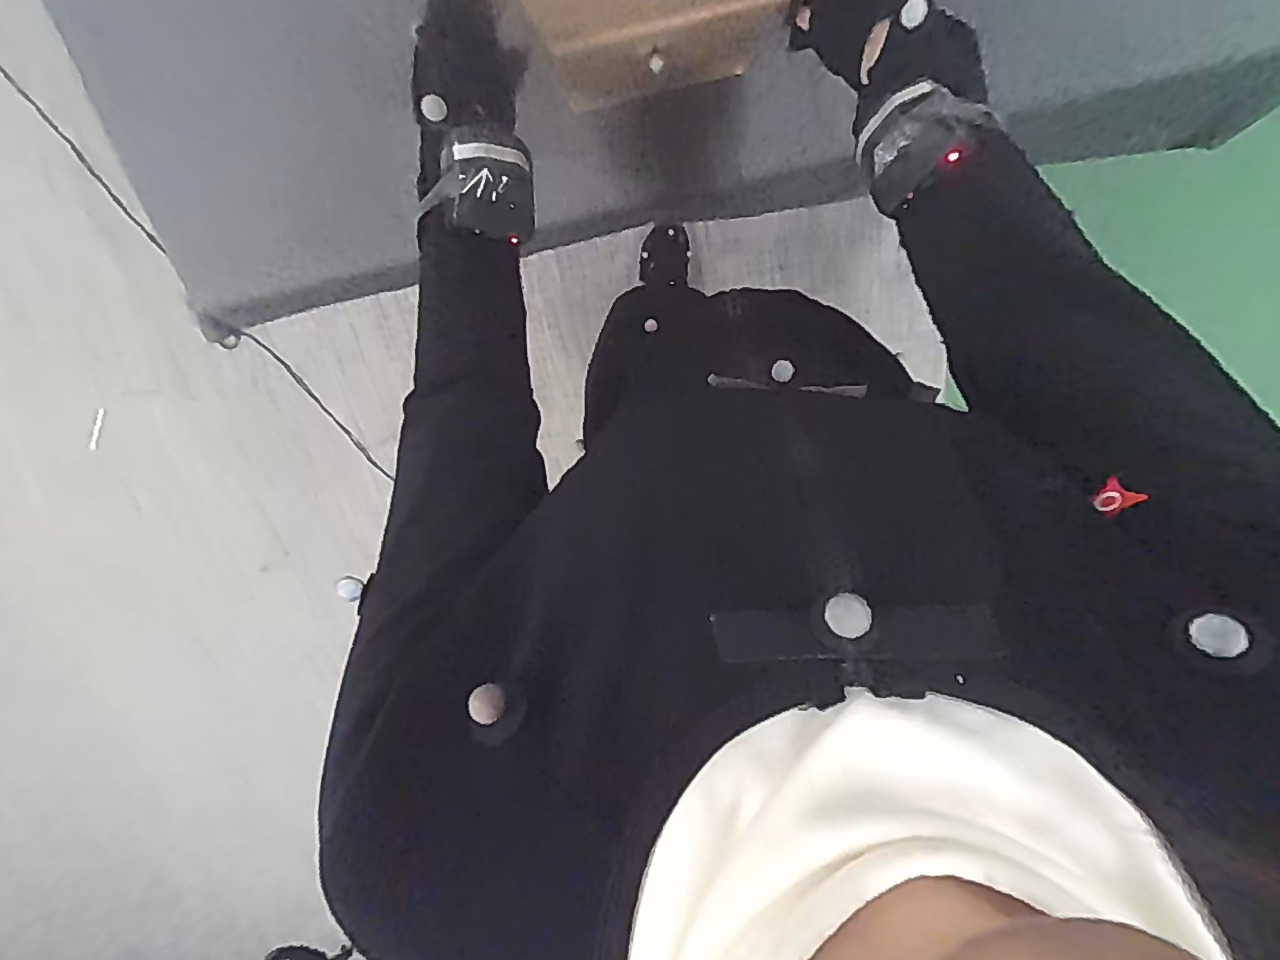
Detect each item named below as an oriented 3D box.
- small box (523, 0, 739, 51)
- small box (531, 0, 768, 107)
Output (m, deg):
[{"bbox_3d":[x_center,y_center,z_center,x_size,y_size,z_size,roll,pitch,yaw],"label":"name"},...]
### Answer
[{"bbox_3d":[-0.001,-0.369,0.285,0.179,0.176,0.168,-12,112,6],"label":"small box"},{"bbox_3d":[-0.002,-0.430,0.437,0.179,0.176,0.168,-10,112,4],"label":"small box"}]
